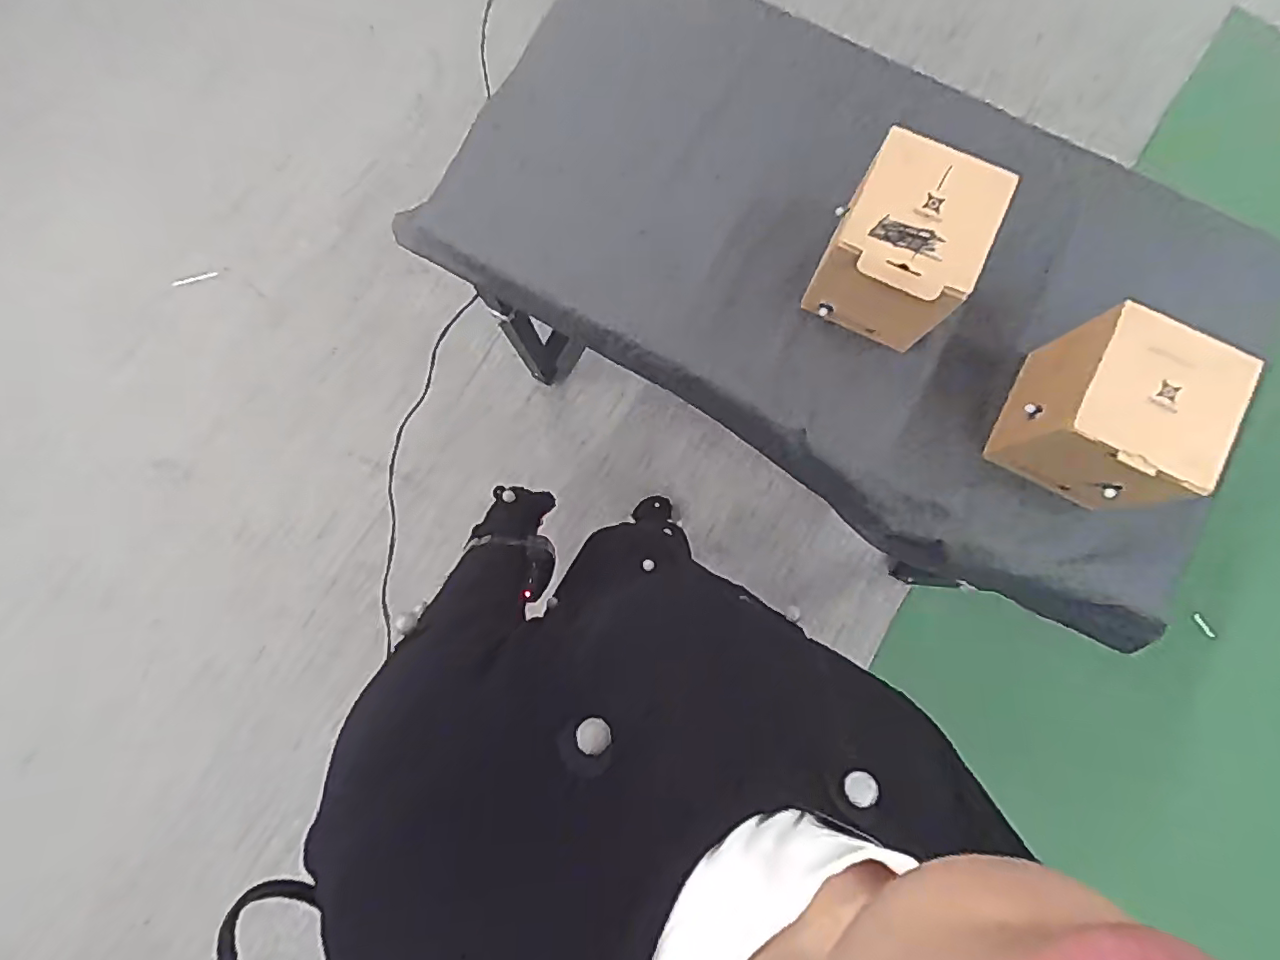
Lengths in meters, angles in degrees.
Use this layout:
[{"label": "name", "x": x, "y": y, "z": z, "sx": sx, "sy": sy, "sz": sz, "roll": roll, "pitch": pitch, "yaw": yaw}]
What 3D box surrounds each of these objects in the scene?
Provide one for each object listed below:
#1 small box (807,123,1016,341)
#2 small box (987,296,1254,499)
[{"label": "small box", "x": 0.344, "y": -0.316, "z": 0.724, "sx": 0.168, "sy": 0.176, "sz": 0.179, "roll": 26, "pitch": 83, "yaw": 4}, {"label": "small box", "x": 0.588, "y": -0.090, "z": 0.690, "sx": 0.168, "sy": 0.176, "sz": 0.179, "roll": 28, "pitch": 82, "yaw": 4}]
